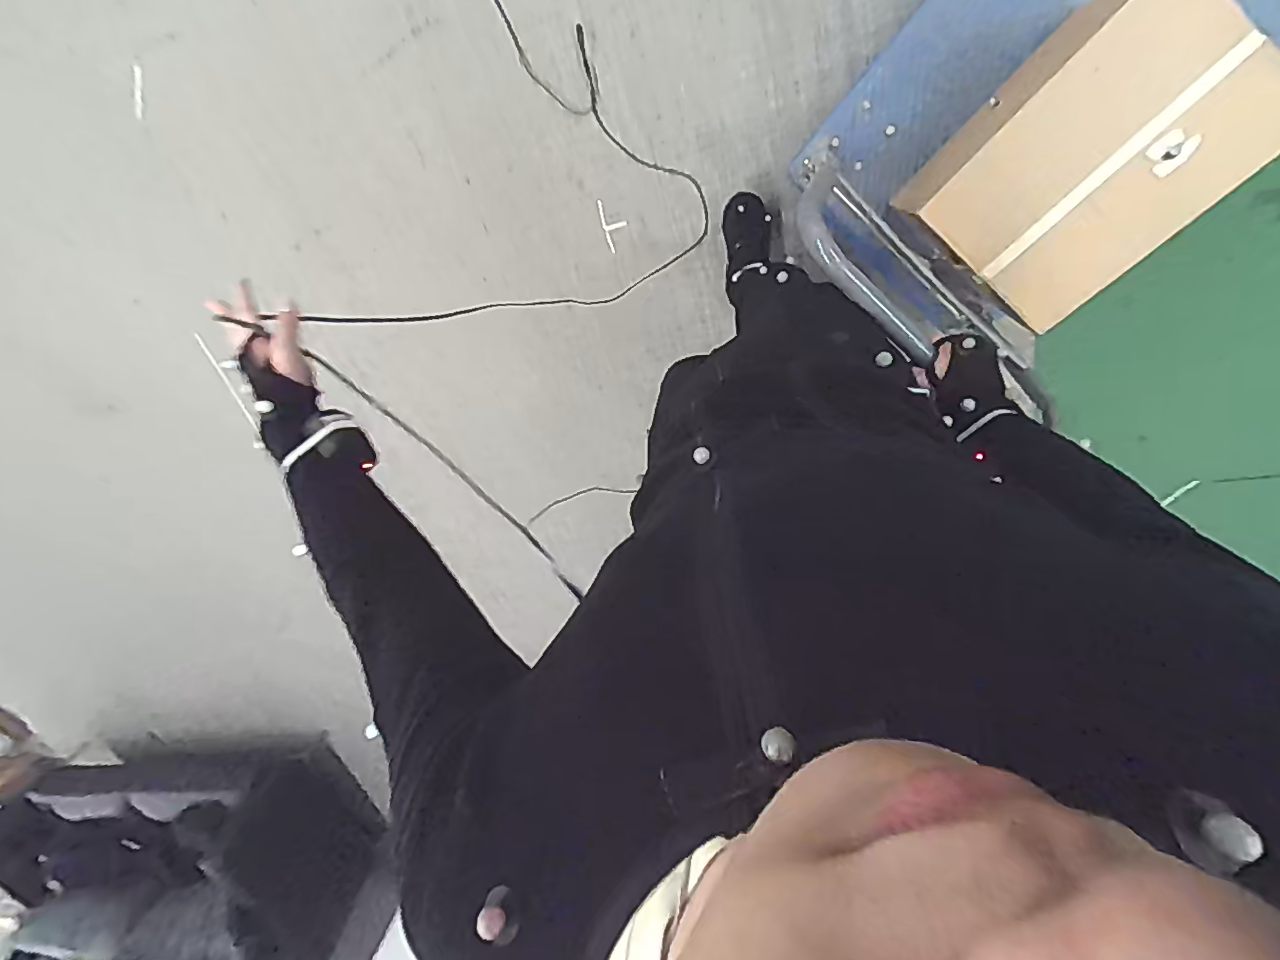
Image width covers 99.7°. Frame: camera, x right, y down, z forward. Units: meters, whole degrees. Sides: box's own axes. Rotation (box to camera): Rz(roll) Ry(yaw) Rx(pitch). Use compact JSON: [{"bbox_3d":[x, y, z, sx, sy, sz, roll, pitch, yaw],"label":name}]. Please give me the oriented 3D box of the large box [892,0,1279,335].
[{"bbox_3d":[0.733,-0.535,0.952,0.320,0.320,0.408,39,120,-9],"label":"large box"}]
